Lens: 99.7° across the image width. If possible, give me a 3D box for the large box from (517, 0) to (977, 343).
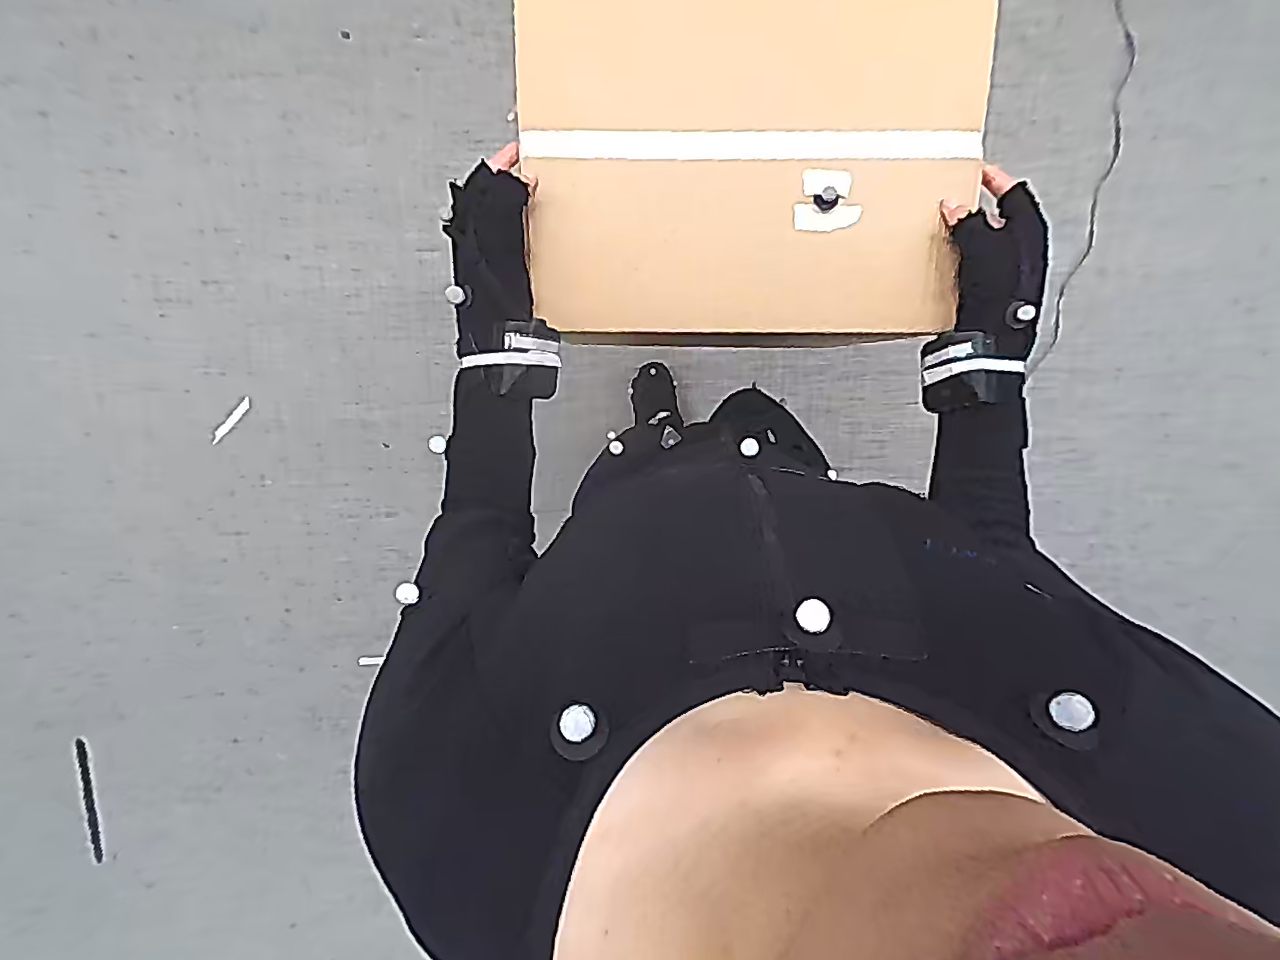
[{"bbox_3d":[0.090,-0.330,0.631,0.408,0.320,0.320,0,102,-1],"label":"large box"}]
